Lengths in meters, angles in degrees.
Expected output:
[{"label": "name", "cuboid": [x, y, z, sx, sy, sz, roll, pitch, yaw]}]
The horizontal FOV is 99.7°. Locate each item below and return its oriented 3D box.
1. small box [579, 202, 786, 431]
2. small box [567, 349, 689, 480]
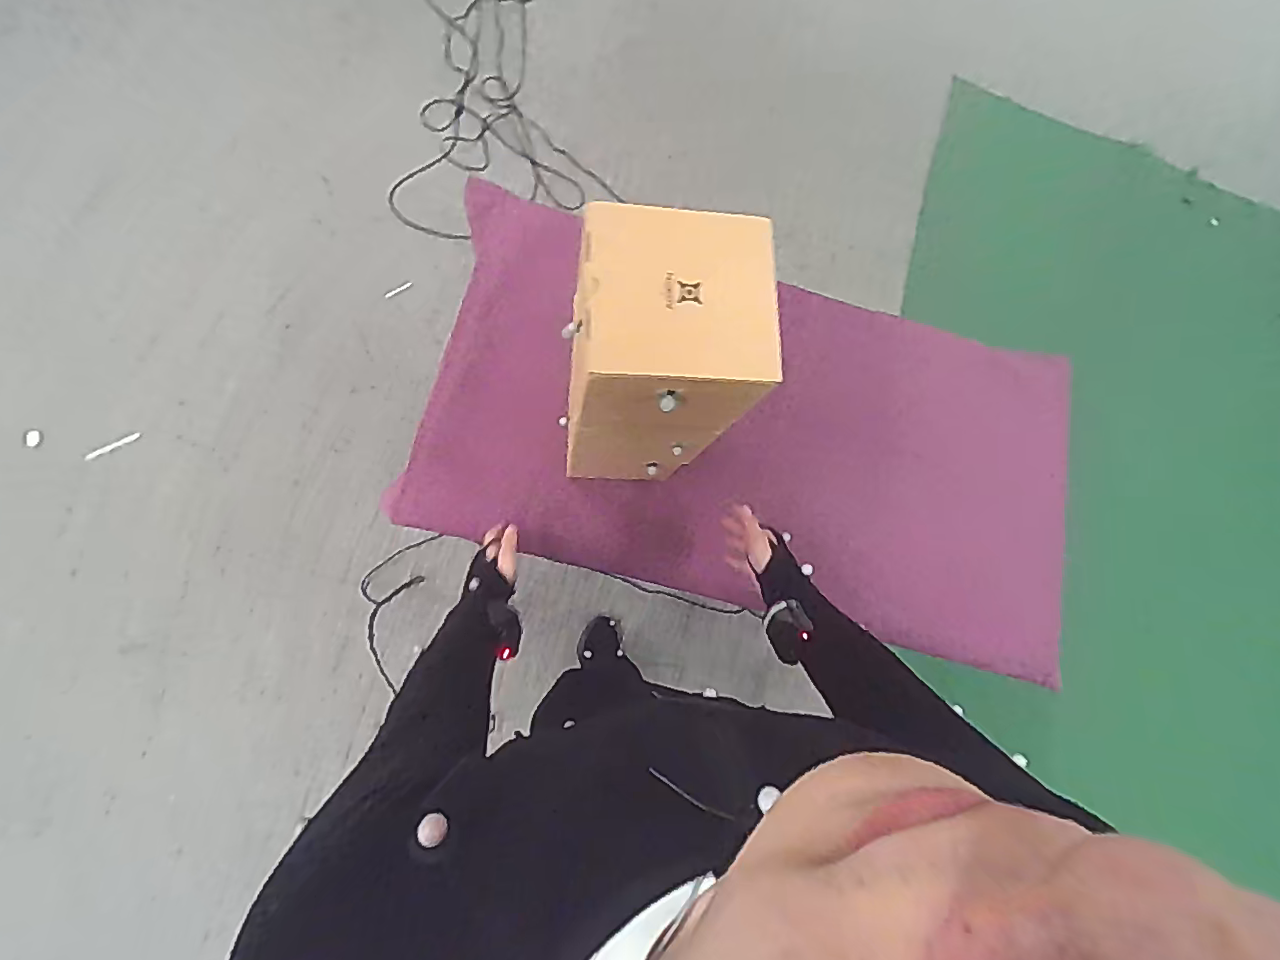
[{"label": "small box", "cuboid": [0.030, -0.152, 0.559, 0.179, 0.176, 0.168, 0, 79, -9]}, {"label": "small box", "cuboid": [-0.025, -0.097, 0.876, 0.179, 0.176, 0.168, 2, 78, -9]}]
